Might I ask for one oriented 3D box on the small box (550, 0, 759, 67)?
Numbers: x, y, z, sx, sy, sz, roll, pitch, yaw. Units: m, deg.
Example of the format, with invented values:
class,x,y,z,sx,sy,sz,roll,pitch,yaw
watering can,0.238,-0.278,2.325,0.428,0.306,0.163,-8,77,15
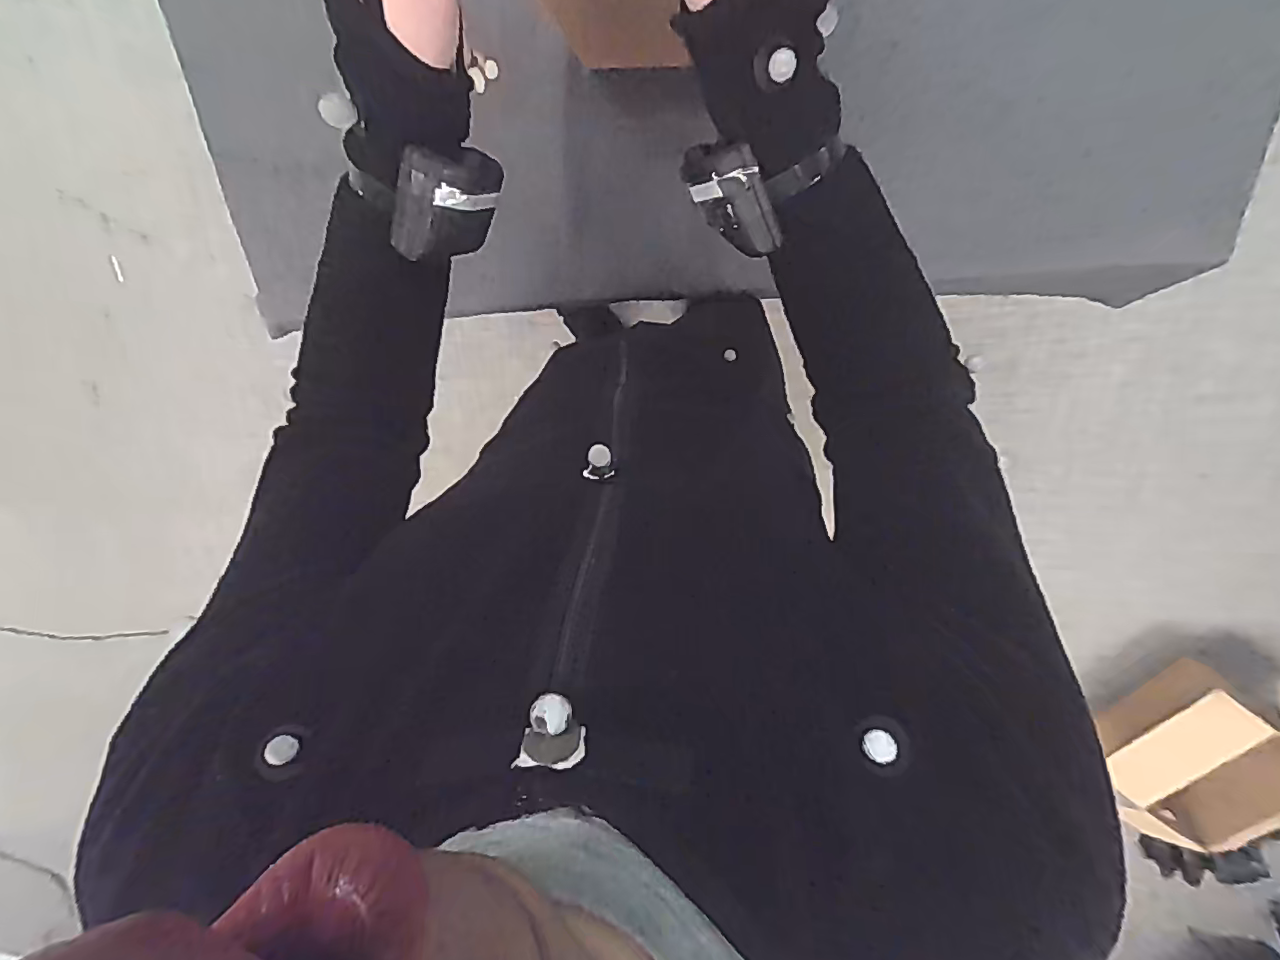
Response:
class,x,y,z,sx,sy,sz,roll,pitch,yaw
small box,0.019,-0.496,0.487,0.179,0.176,0.168,2,114,6
